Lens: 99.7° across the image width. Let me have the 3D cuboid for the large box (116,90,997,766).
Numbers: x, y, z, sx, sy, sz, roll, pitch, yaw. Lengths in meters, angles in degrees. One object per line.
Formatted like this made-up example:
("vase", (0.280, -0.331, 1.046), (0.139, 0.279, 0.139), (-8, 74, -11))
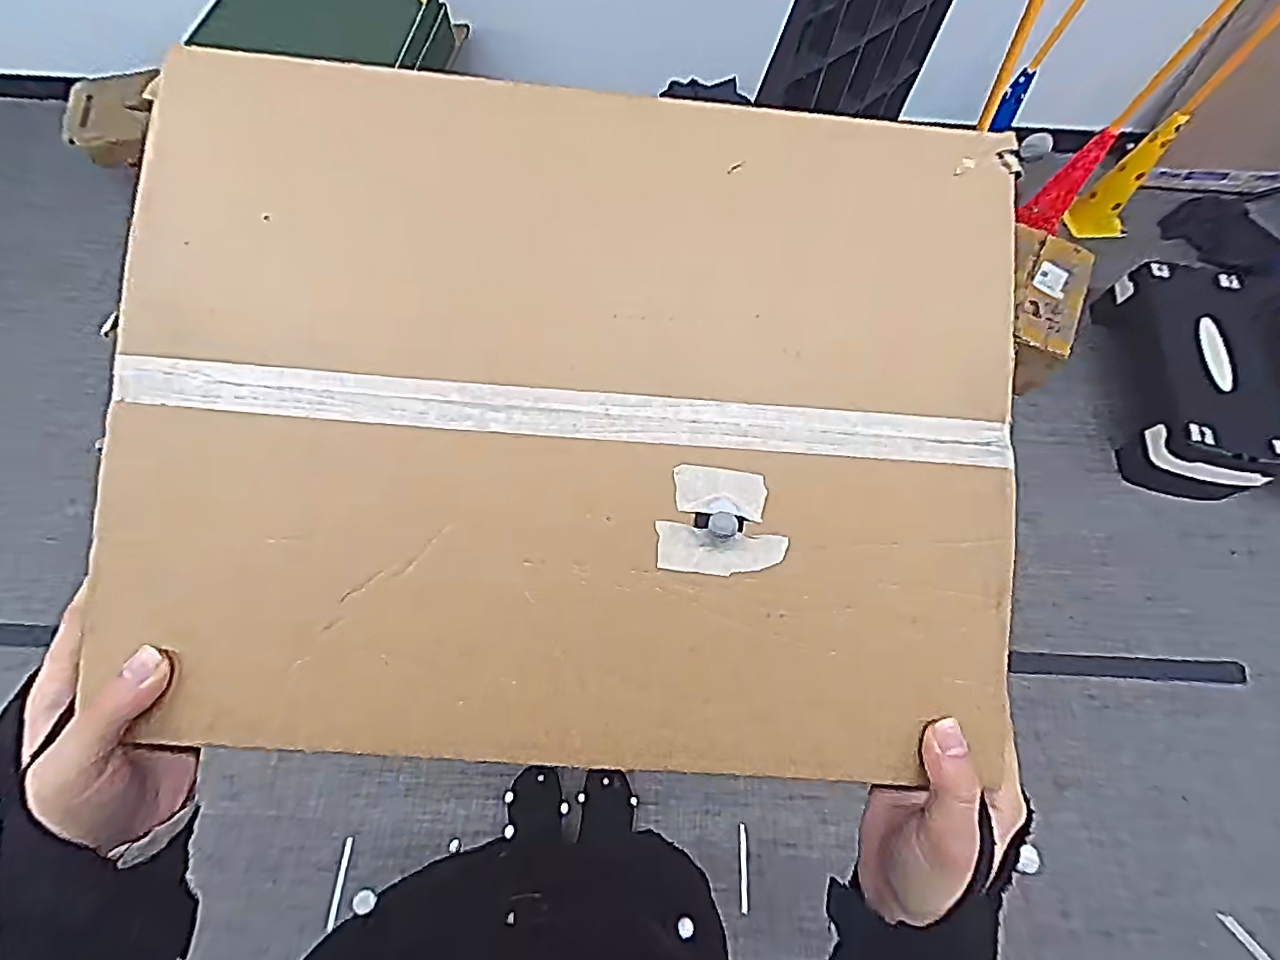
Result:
("large box", (-0.034, -0.015, 0.406), (0.408, 0.320, 0.320), (4, 87, -3))
